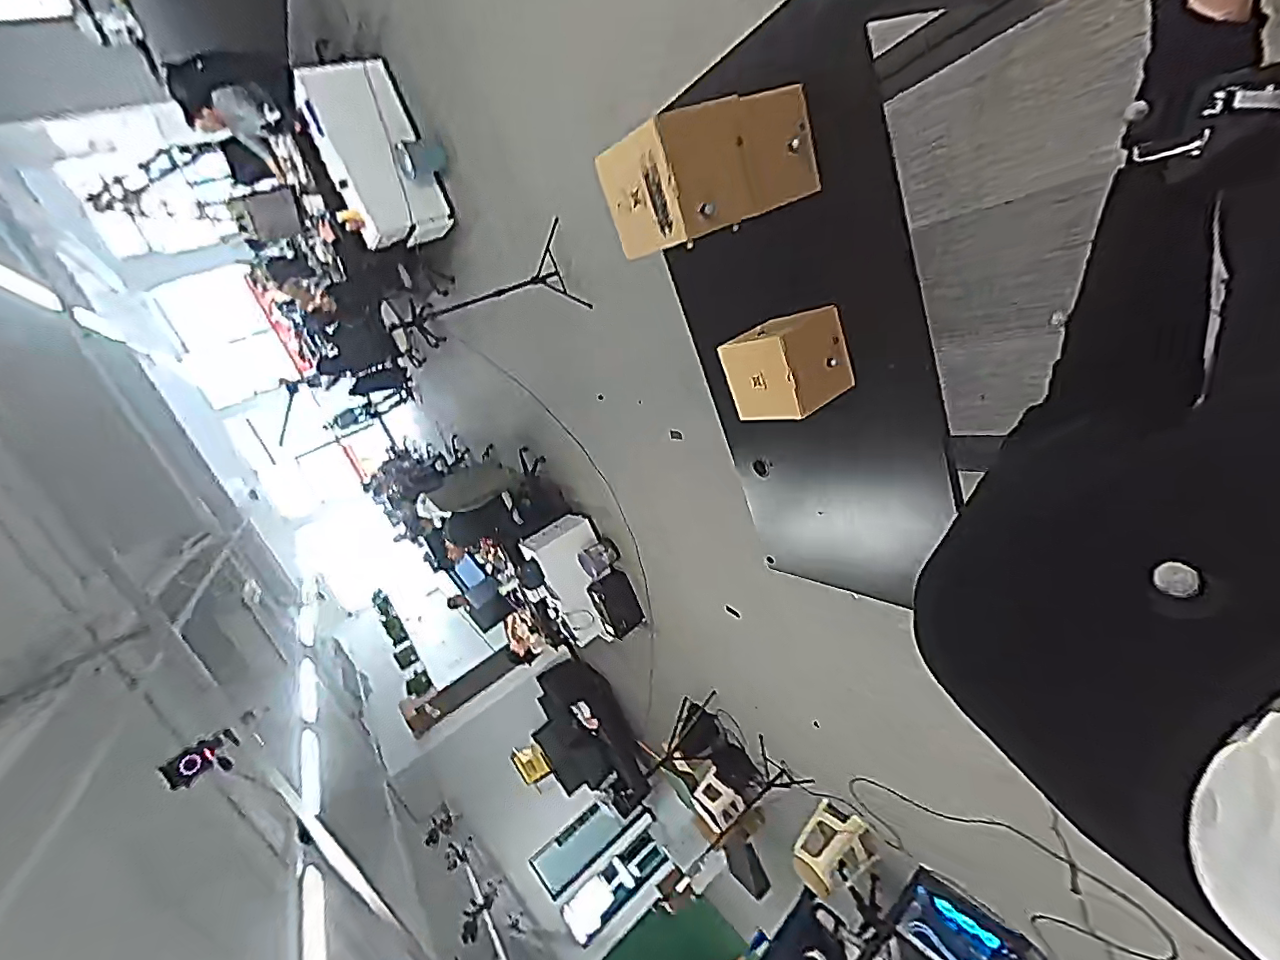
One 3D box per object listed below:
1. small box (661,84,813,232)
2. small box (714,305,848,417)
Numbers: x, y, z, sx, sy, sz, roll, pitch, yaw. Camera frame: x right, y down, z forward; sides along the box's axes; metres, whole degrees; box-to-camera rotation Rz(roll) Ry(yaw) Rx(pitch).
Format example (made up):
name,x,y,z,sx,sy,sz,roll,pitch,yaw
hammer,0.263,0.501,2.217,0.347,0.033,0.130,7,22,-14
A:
name,x,y,z,sx,sy,sz,roll,pitch,yaw
small box,0.170,-0.557,0.946,0.179,0.176,0.168,16,133,55
small box,0.286,-0.236,1.096,0.179,0.176,0.168,8,125,58
